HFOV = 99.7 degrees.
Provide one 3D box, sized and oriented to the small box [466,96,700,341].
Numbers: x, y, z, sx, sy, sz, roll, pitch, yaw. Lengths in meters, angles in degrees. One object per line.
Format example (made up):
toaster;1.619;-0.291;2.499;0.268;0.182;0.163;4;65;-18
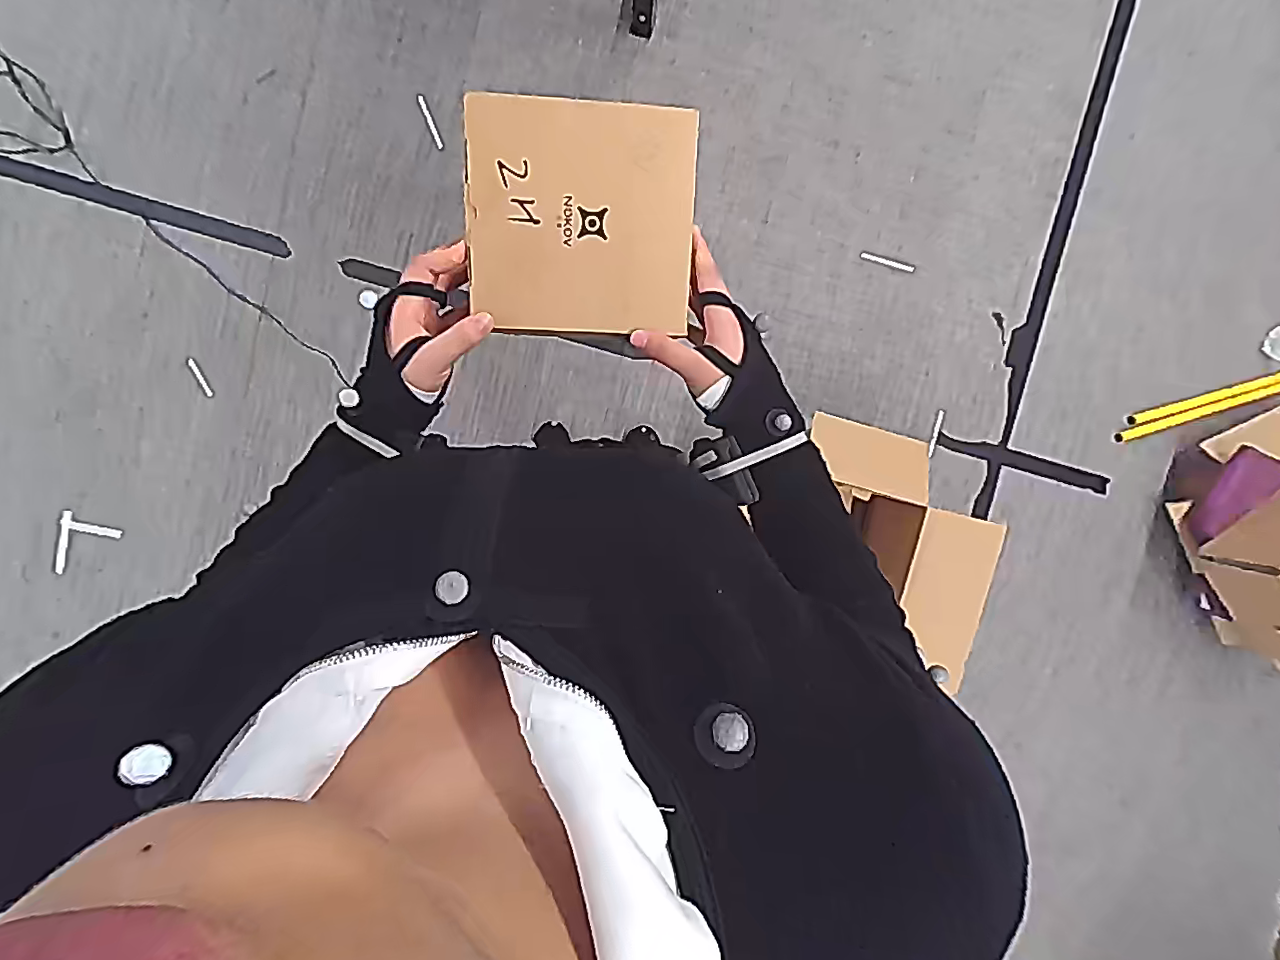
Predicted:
small box;-0.051;-0.216;0.496;0.179;0.176;0.168;2;103;-4
